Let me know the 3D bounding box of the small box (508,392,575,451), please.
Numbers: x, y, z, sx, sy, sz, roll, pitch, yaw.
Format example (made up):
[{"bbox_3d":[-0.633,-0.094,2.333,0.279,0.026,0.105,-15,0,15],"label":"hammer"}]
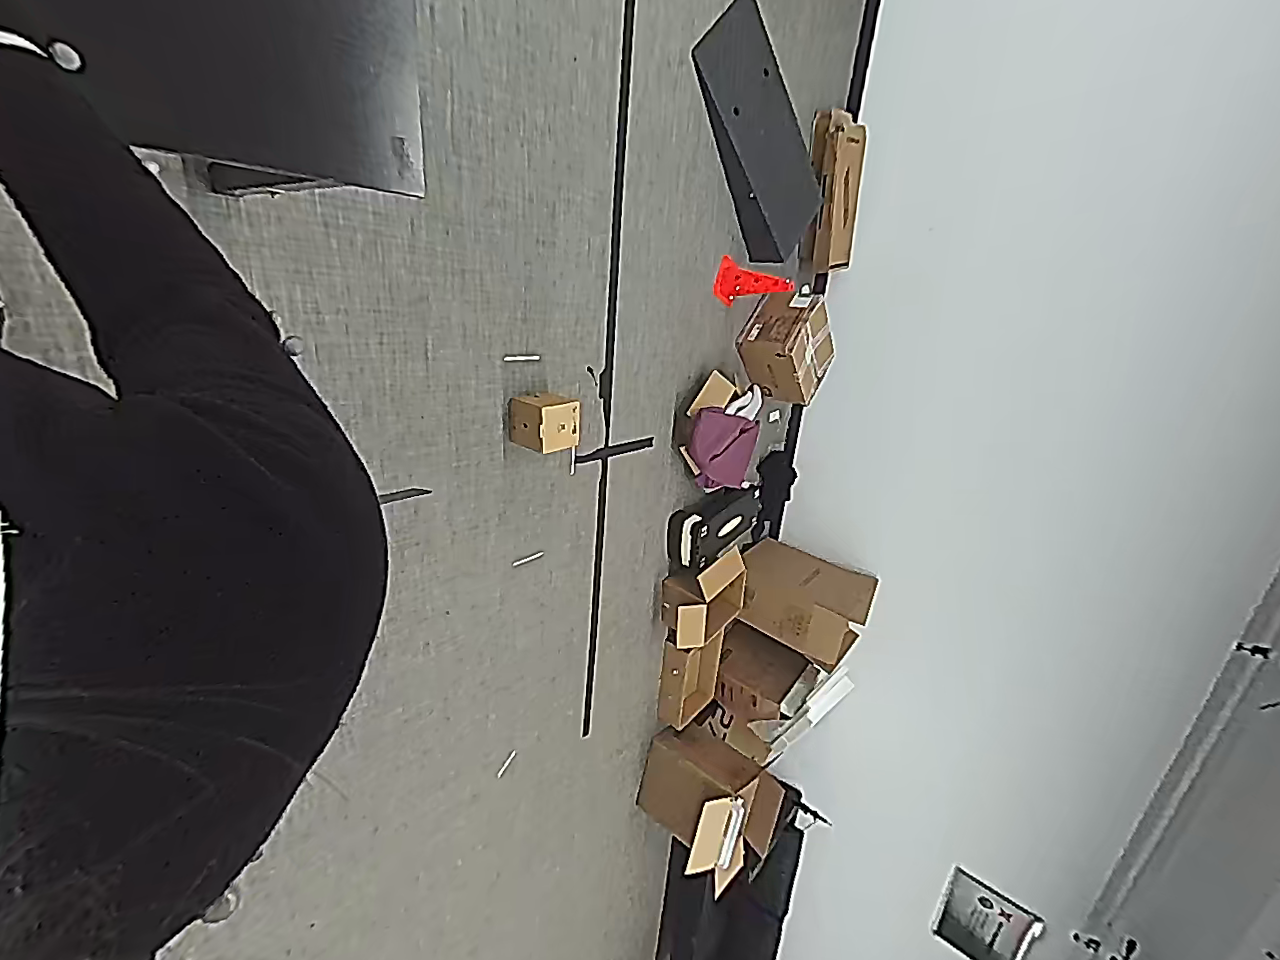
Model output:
[{"bbox_3d":[-0.352,-0.212,1.916,0.179,0.176,0.168,-19,121,-47],"label":"small box"}]
